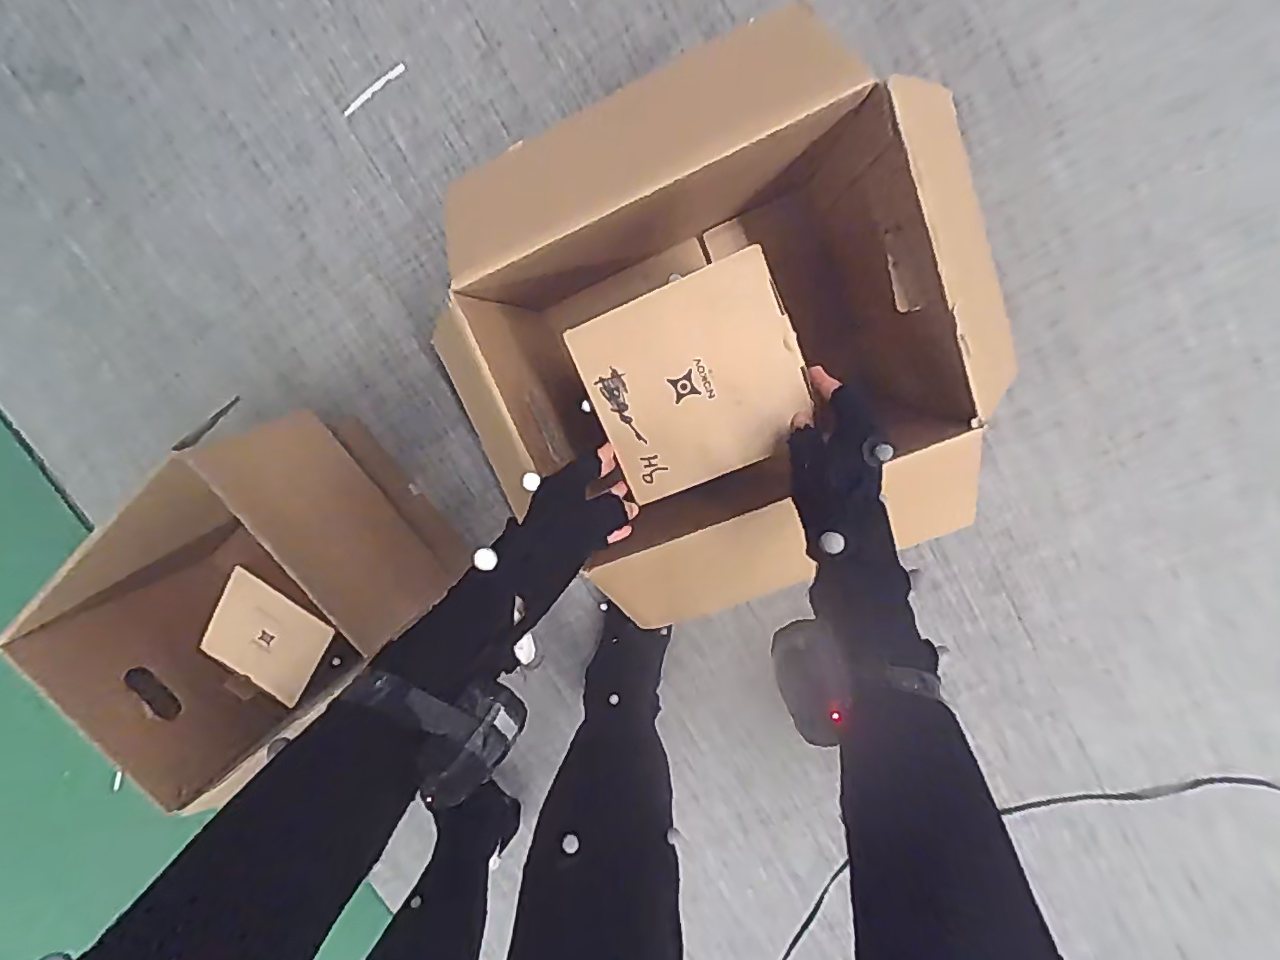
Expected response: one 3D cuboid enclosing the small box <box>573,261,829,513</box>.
[{"bbox_3d":[0.057,-0.091,0.535,0.179,0.176,0.168,-22,100,10],"label":"small box"}]
